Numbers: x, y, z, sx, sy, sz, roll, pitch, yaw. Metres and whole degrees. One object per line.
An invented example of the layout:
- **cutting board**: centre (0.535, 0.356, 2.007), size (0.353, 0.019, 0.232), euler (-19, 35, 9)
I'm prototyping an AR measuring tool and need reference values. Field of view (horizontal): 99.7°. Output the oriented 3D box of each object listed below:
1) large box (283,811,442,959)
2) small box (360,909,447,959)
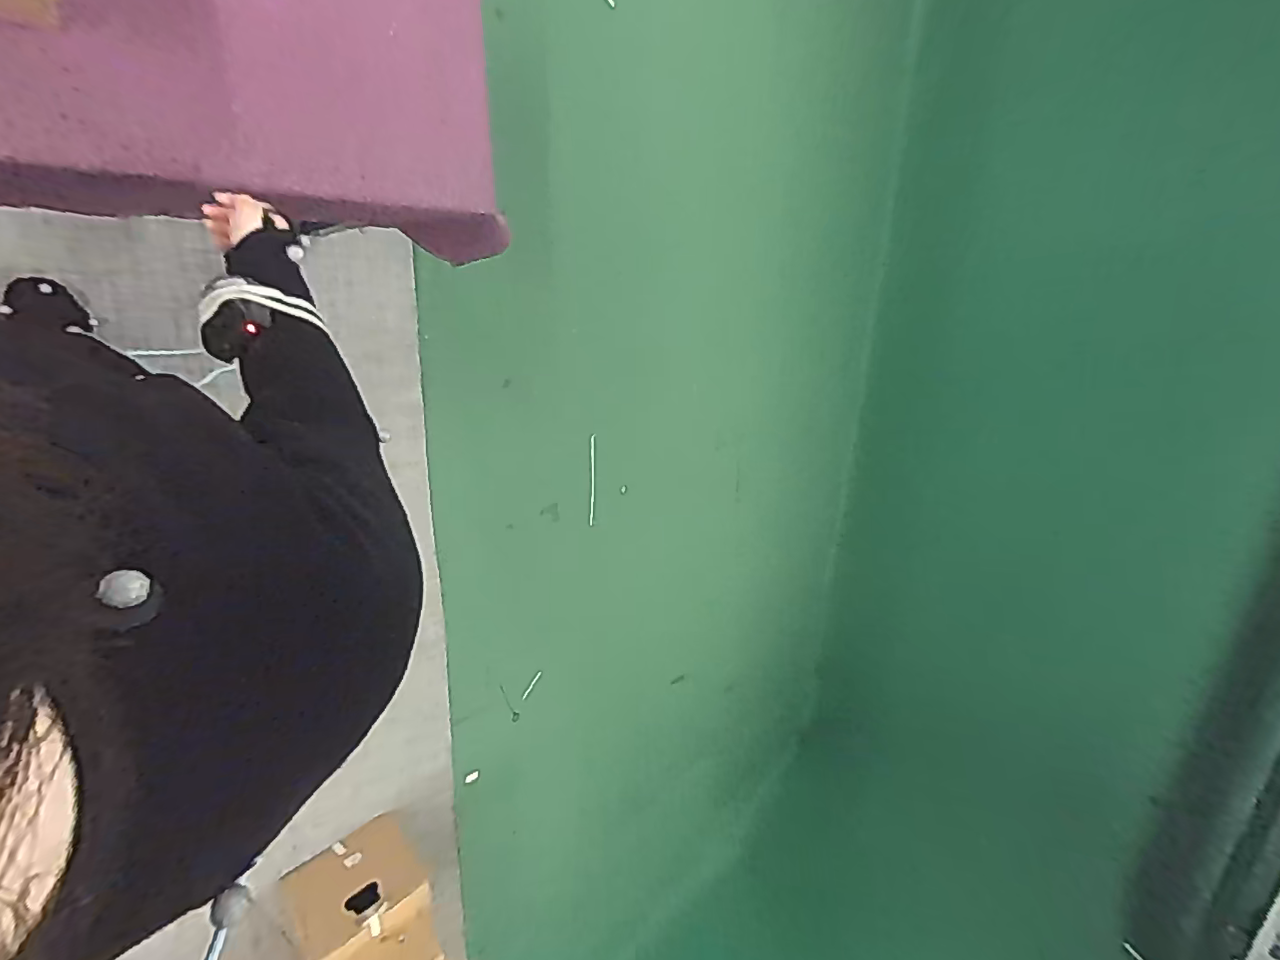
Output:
- **large box**: centre (-0.836, 1.340, 1.650), size (0.320, 0.320, 0.408), euler (-17, 117, -44)
- **small box**: centre (-0.653, 1.345, 1.481), size (0.168, 0.176, 0.179), euler (-3, 105, -49)
